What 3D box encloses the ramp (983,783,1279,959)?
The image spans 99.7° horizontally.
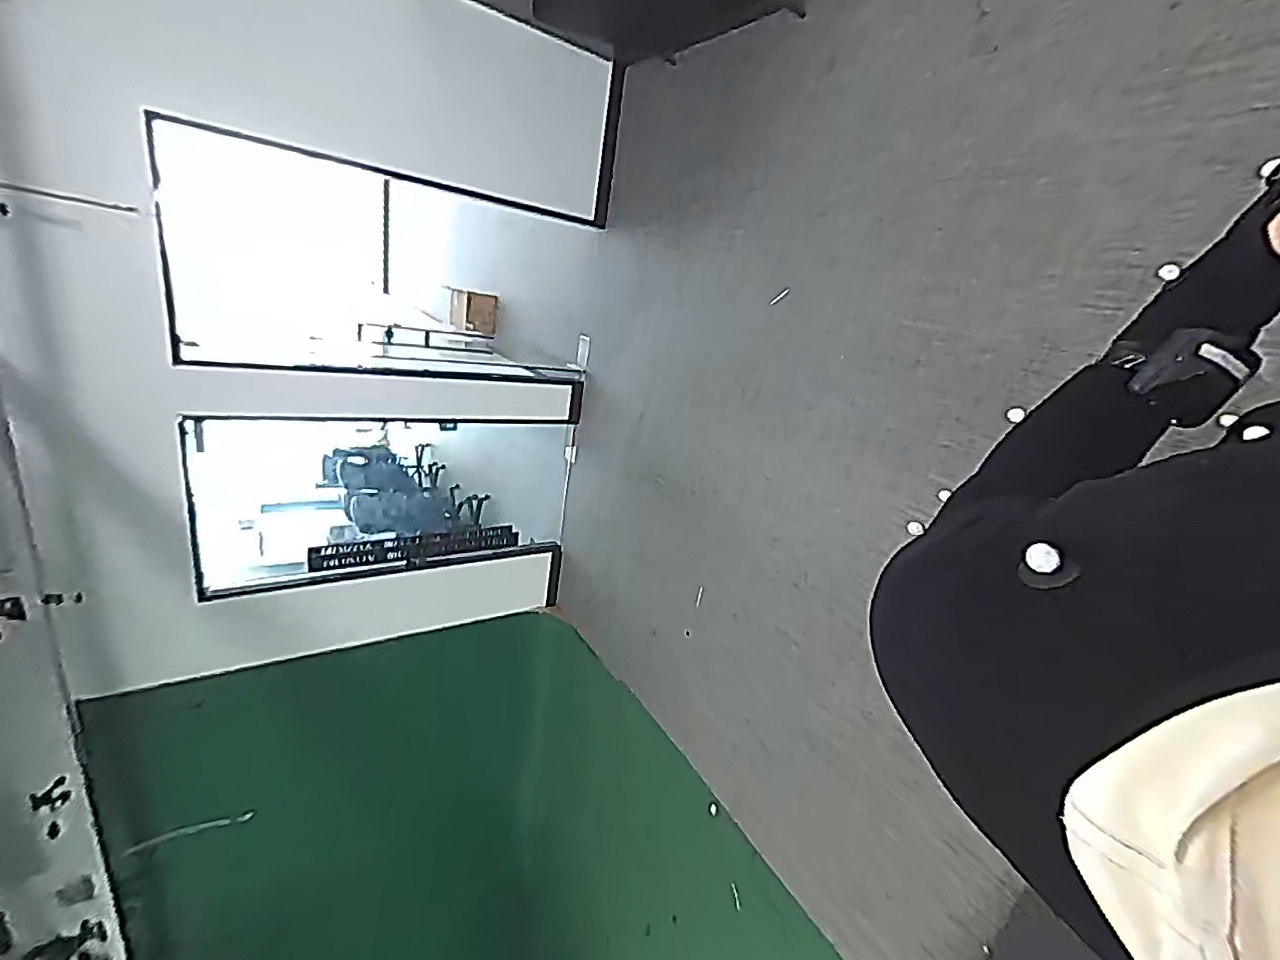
[{"bbox_3d":[1.126,1.305,1.298,0.509,0.206,0.991,32,118,52],"label":"ramp"}]
